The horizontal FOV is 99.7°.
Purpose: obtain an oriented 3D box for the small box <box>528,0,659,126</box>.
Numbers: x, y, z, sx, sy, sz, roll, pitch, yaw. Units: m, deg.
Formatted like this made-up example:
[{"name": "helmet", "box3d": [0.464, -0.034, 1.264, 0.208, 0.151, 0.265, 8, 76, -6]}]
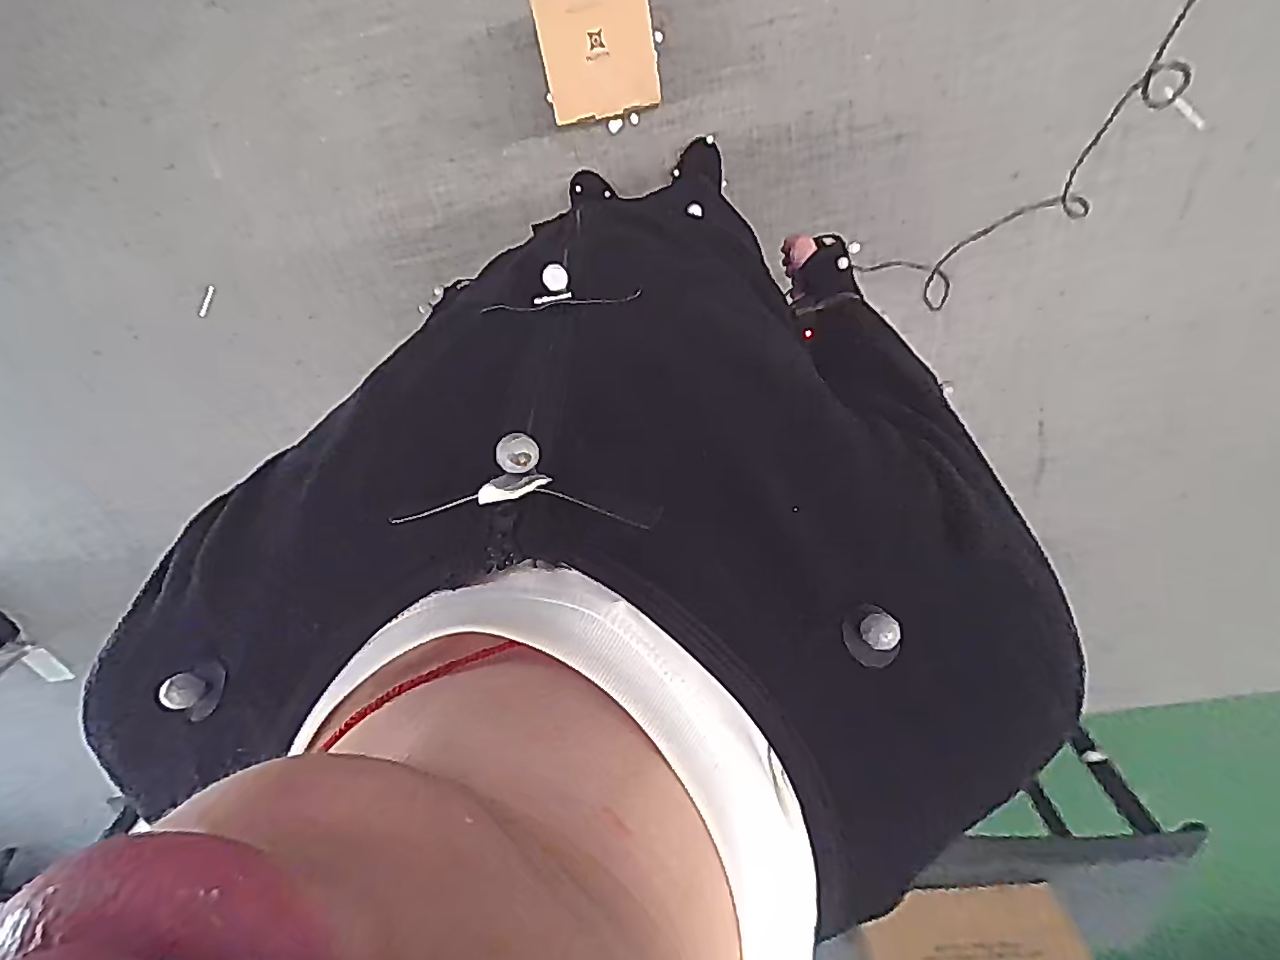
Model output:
[{"name": "small box", "box3d": [-0.065, -0.671, 0.843, 0.168, 0.176, 0.179, -10, 120, 5]}]
